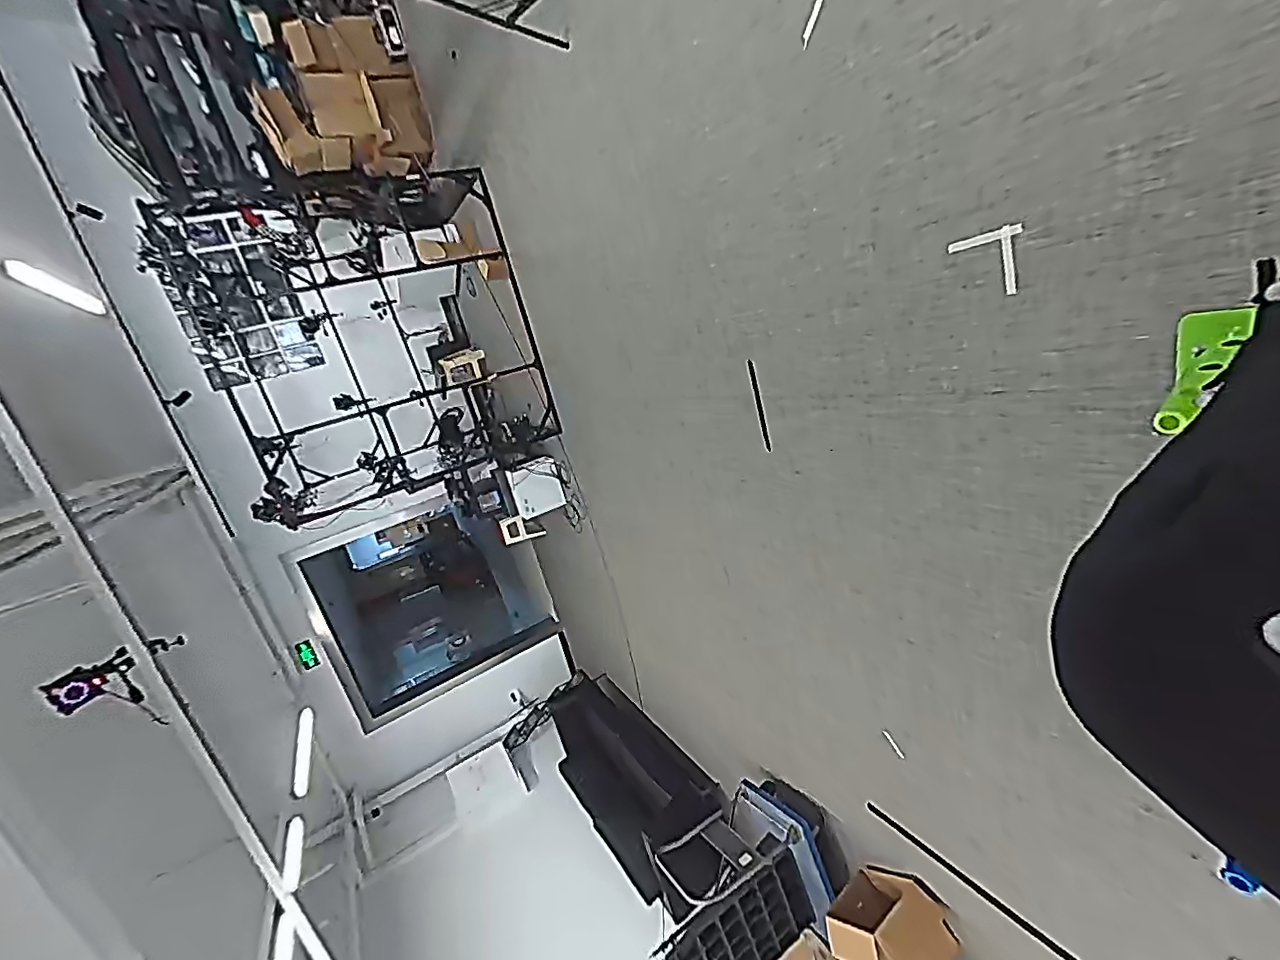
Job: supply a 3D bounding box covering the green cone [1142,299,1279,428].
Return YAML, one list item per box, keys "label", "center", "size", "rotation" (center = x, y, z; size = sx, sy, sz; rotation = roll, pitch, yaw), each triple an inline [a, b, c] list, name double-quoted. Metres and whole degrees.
- label: "green cone"
  center: [0.984, -0.169, 0.933]
  size: [0.202, 0.368, 0.200]
  rotation: [17, 126, 61]
